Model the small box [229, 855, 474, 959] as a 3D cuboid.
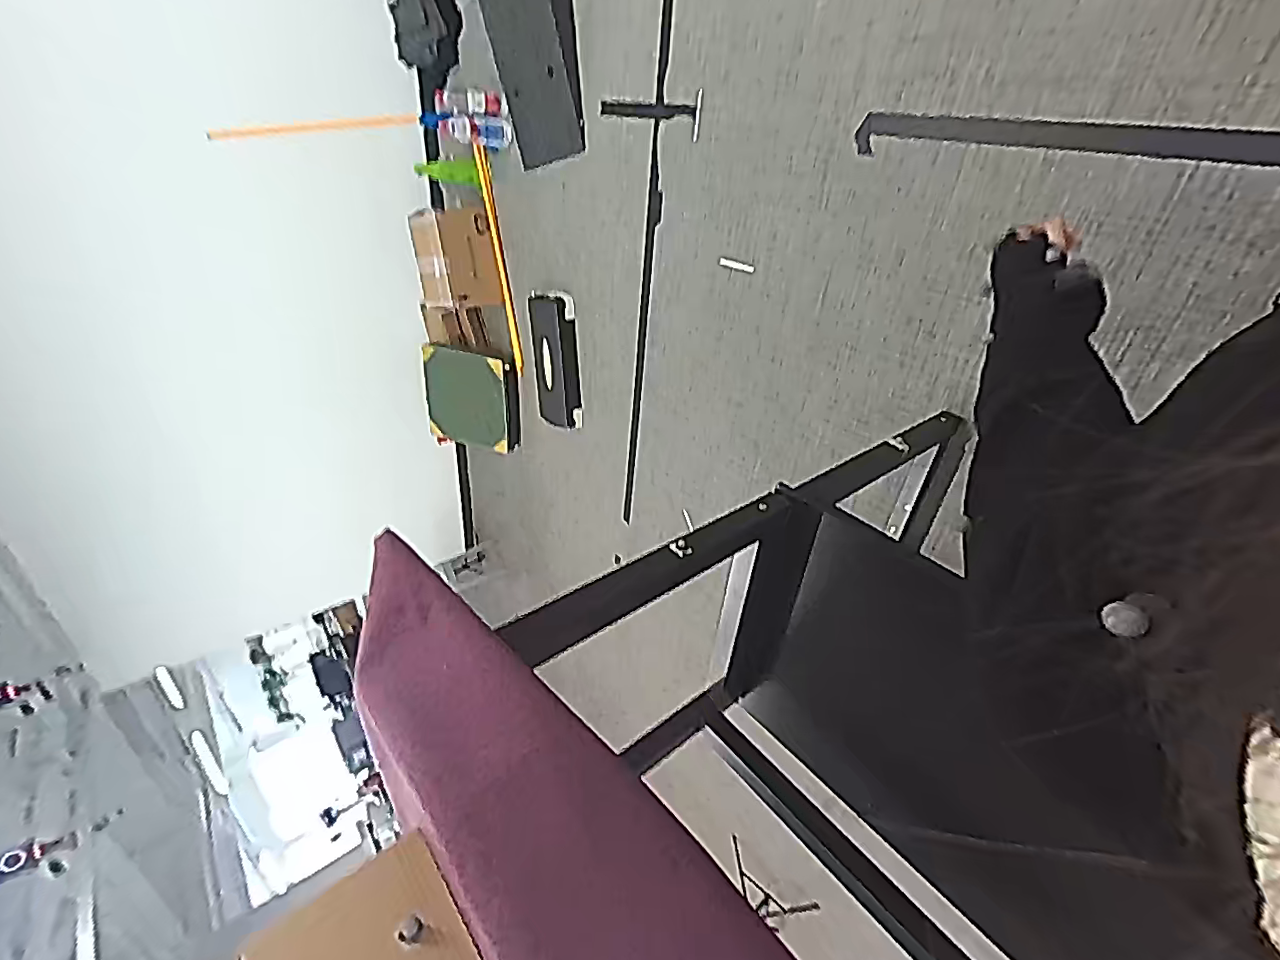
[{"bbox_3d":[-0.252,0.502,0.509,0.179,0.176,0.168,34,132,39],"label":"small box"}]
